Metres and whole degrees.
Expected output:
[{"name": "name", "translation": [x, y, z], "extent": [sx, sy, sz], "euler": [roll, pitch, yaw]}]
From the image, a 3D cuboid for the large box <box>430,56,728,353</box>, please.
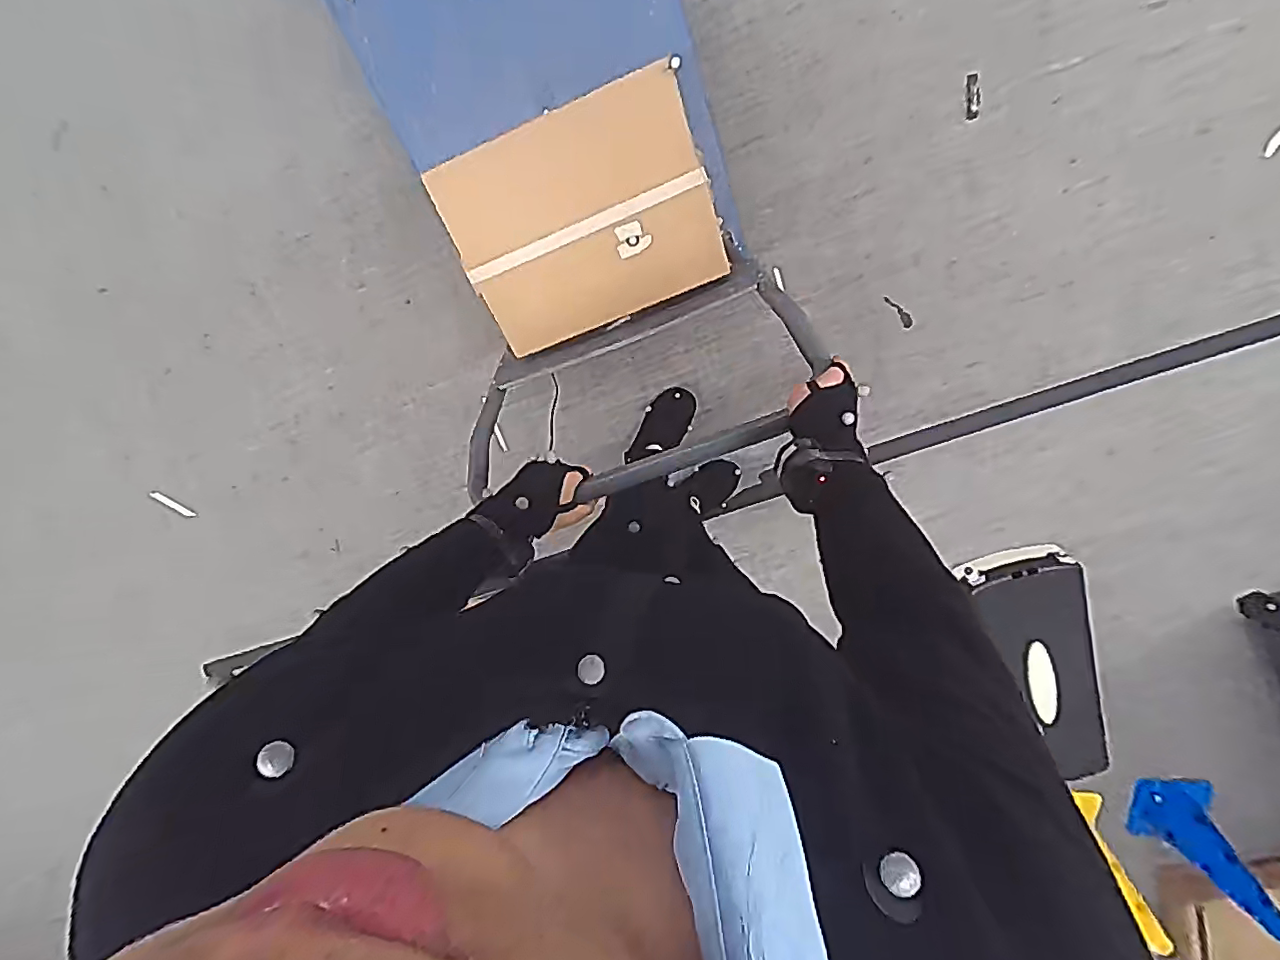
[{"name": "large box", "translation": [-0.096, -0.490, 0.997], "extent": [0.408, 0.320, 0.320], "euler": [-20, 121, 8]}]
